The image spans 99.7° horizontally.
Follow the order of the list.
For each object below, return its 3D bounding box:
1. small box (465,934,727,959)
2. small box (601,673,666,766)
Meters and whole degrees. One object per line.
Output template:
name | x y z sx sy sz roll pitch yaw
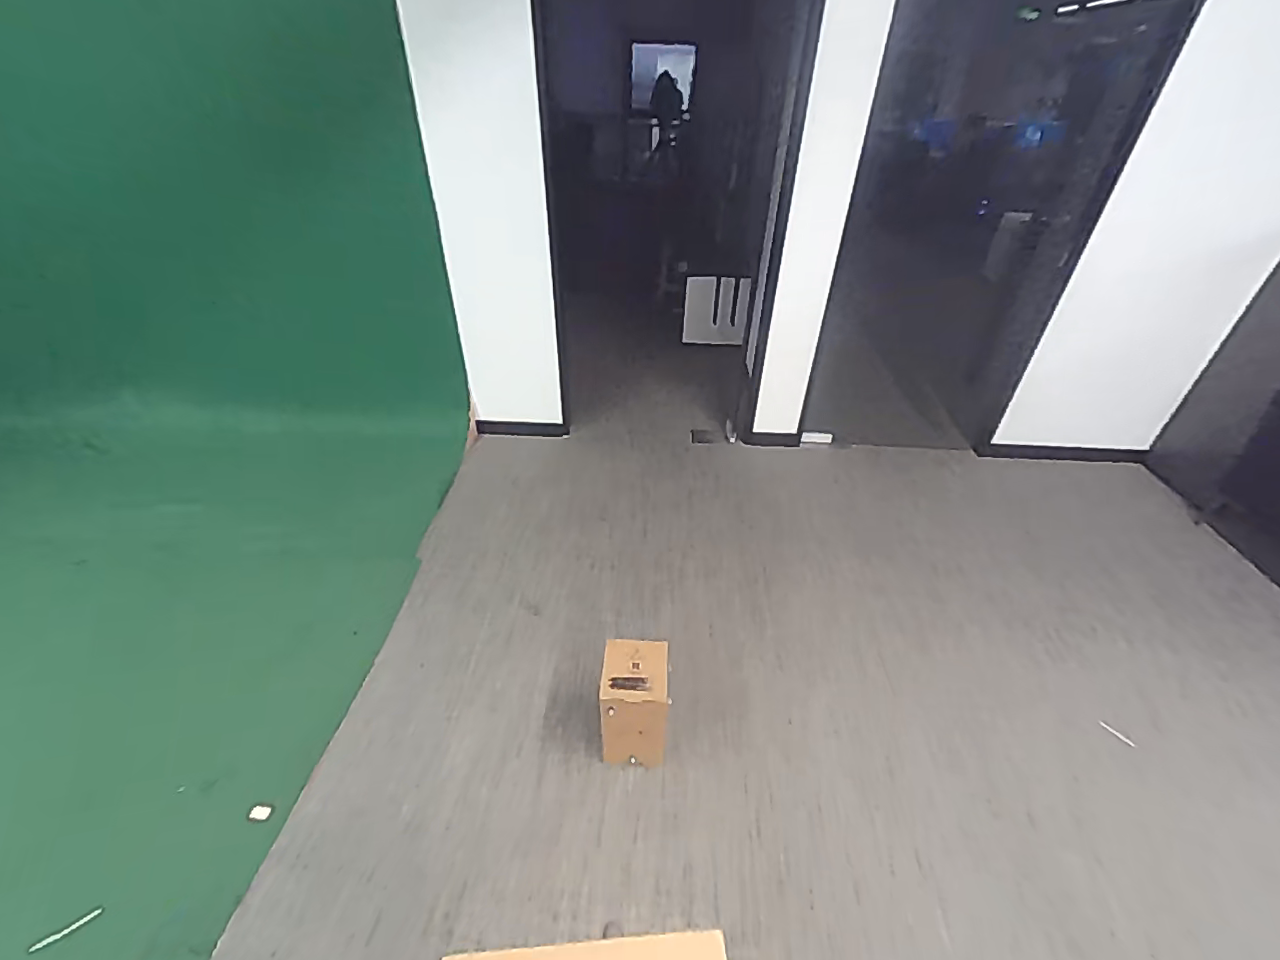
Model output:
small box | -0.032 0.396 0.318 0.168 0.176 0.179 1 46 -9
small box | -0.017 0.668 1.512 0.168 0.176 0.179 3 38 3
